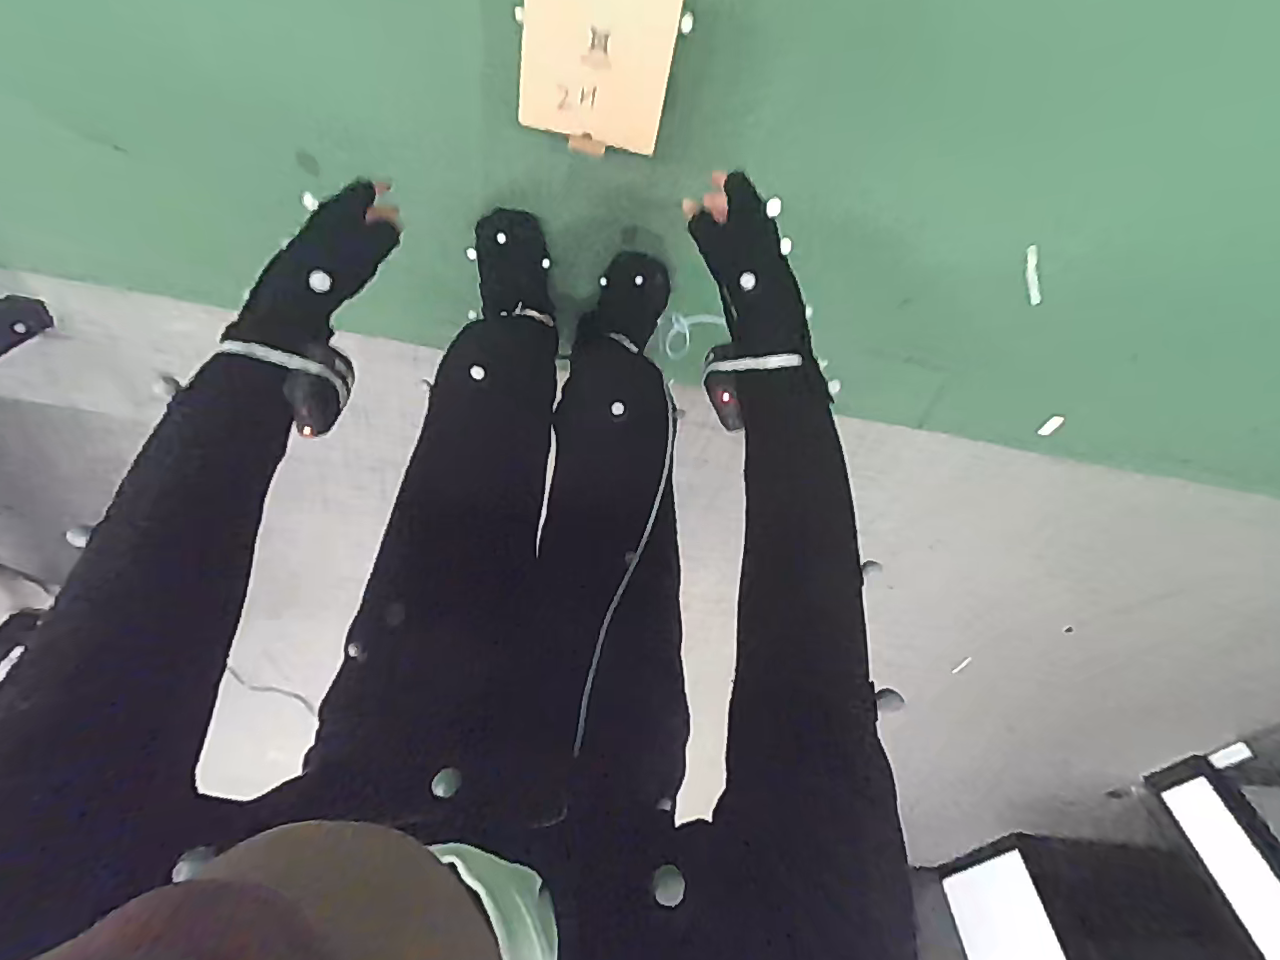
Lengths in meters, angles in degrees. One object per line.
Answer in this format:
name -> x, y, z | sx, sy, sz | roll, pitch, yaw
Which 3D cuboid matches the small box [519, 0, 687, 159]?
small box -> -0.046, -0.523, 0.657 | 0.168, 0.176, 0.179 | 10, 131, -8
